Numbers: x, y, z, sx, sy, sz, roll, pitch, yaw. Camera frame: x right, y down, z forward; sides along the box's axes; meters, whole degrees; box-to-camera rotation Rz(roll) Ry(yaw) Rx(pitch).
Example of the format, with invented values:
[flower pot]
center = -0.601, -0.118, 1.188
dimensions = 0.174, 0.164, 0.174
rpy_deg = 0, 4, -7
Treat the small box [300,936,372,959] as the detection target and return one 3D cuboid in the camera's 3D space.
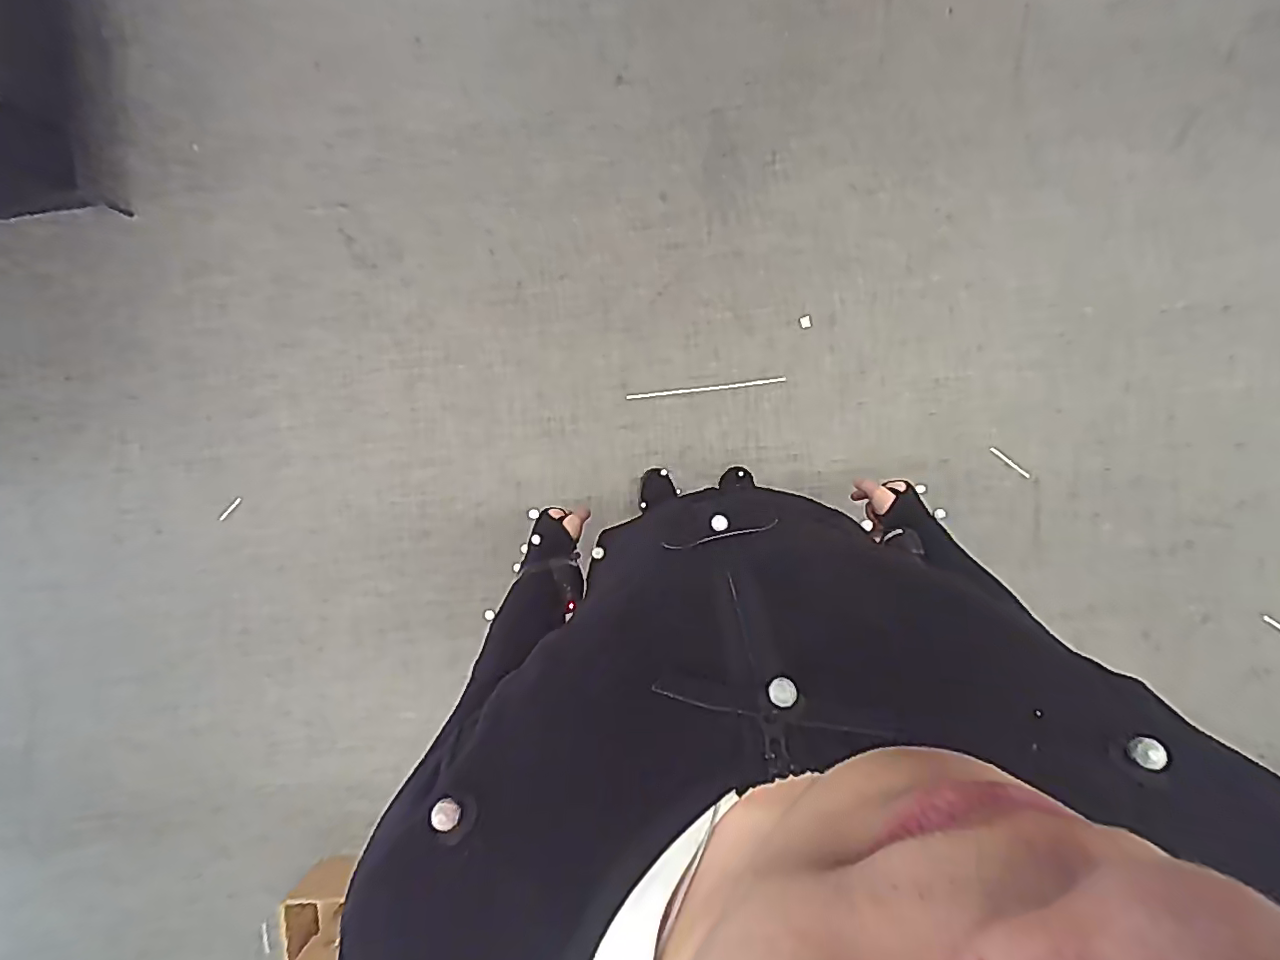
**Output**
[small box]
center = -0.828, 1.364, 1.430
dimensions = 0.168, 0.176, 0.179
rpy_deg = -6, 91, 2
